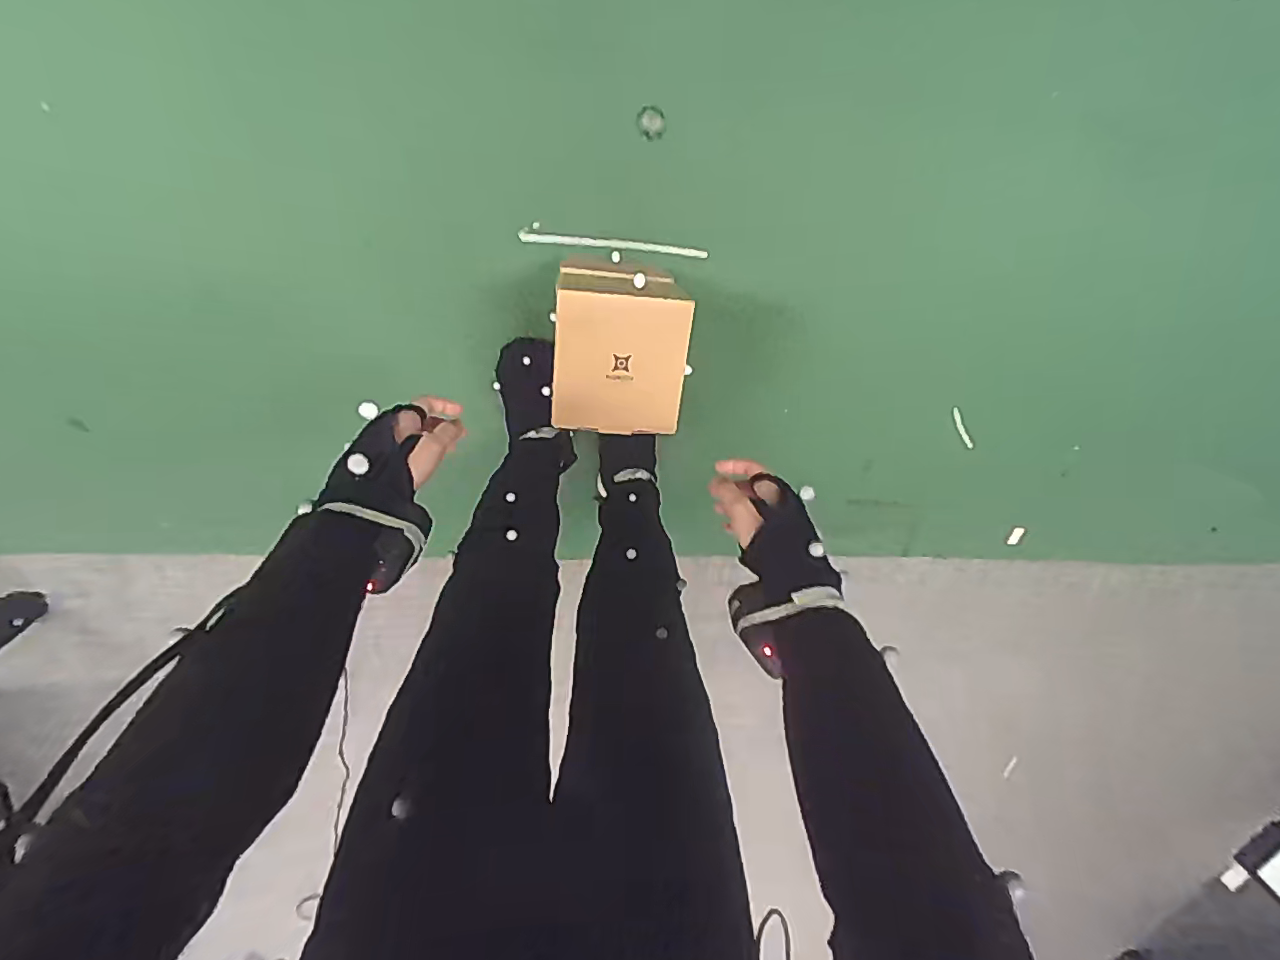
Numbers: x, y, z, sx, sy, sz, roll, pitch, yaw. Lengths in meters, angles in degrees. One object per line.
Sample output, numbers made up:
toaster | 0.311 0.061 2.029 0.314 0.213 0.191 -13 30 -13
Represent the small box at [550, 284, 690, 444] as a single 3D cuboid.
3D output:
small box | -0.037 -0.165 0.743 0.168 0.176 0.179 2 117 -8
